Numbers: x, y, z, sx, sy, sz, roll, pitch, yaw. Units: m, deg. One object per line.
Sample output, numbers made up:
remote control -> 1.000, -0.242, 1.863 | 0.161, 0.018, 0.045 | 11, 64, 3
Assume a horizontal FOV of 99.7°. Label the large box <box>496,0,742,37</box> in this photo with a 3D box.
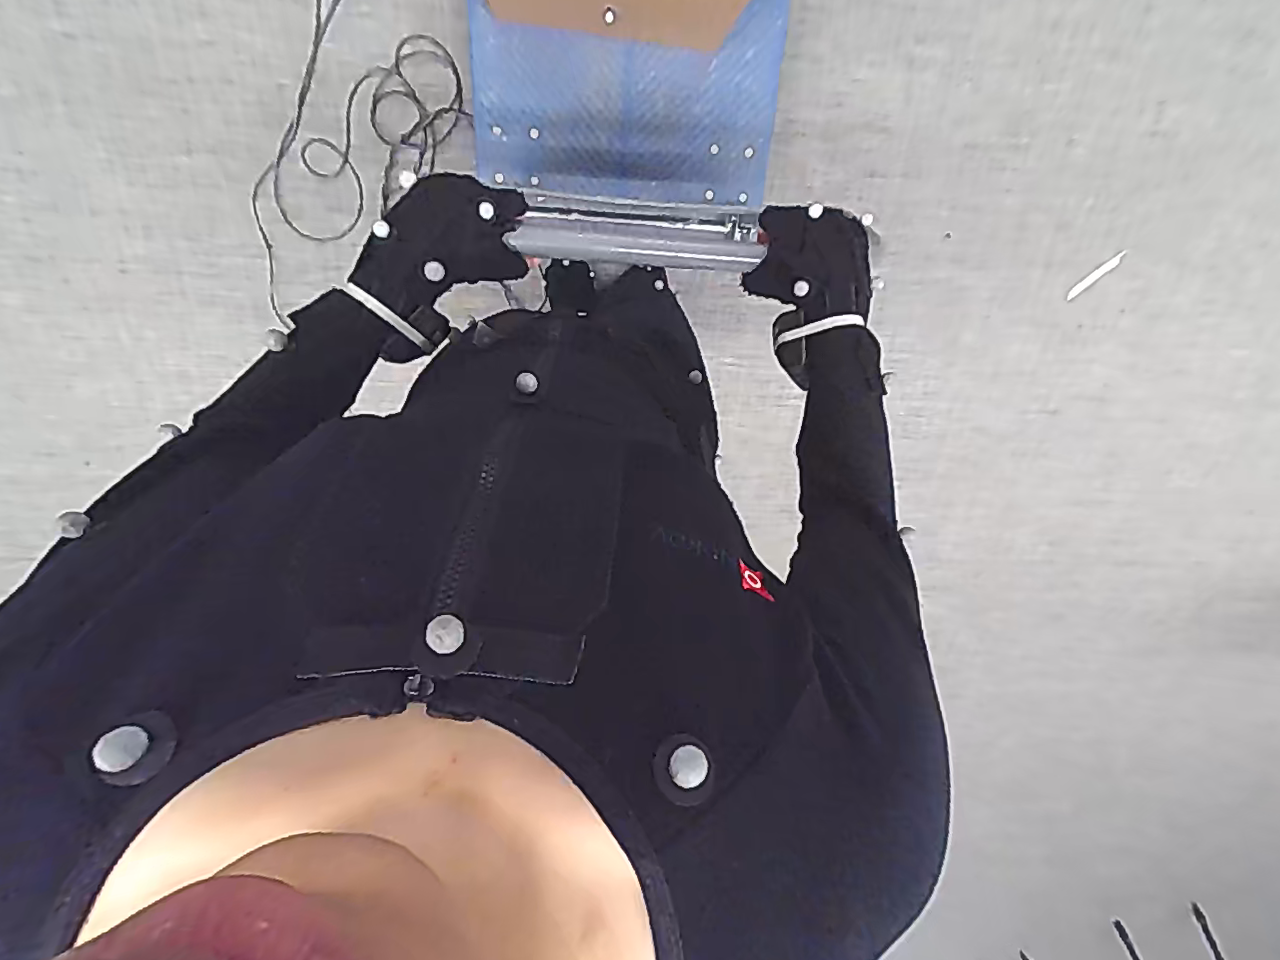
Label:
large box -> -0.030, -0.891, 0.782 | 0.408, 0.320, 0.320 | 4, 115, -5
